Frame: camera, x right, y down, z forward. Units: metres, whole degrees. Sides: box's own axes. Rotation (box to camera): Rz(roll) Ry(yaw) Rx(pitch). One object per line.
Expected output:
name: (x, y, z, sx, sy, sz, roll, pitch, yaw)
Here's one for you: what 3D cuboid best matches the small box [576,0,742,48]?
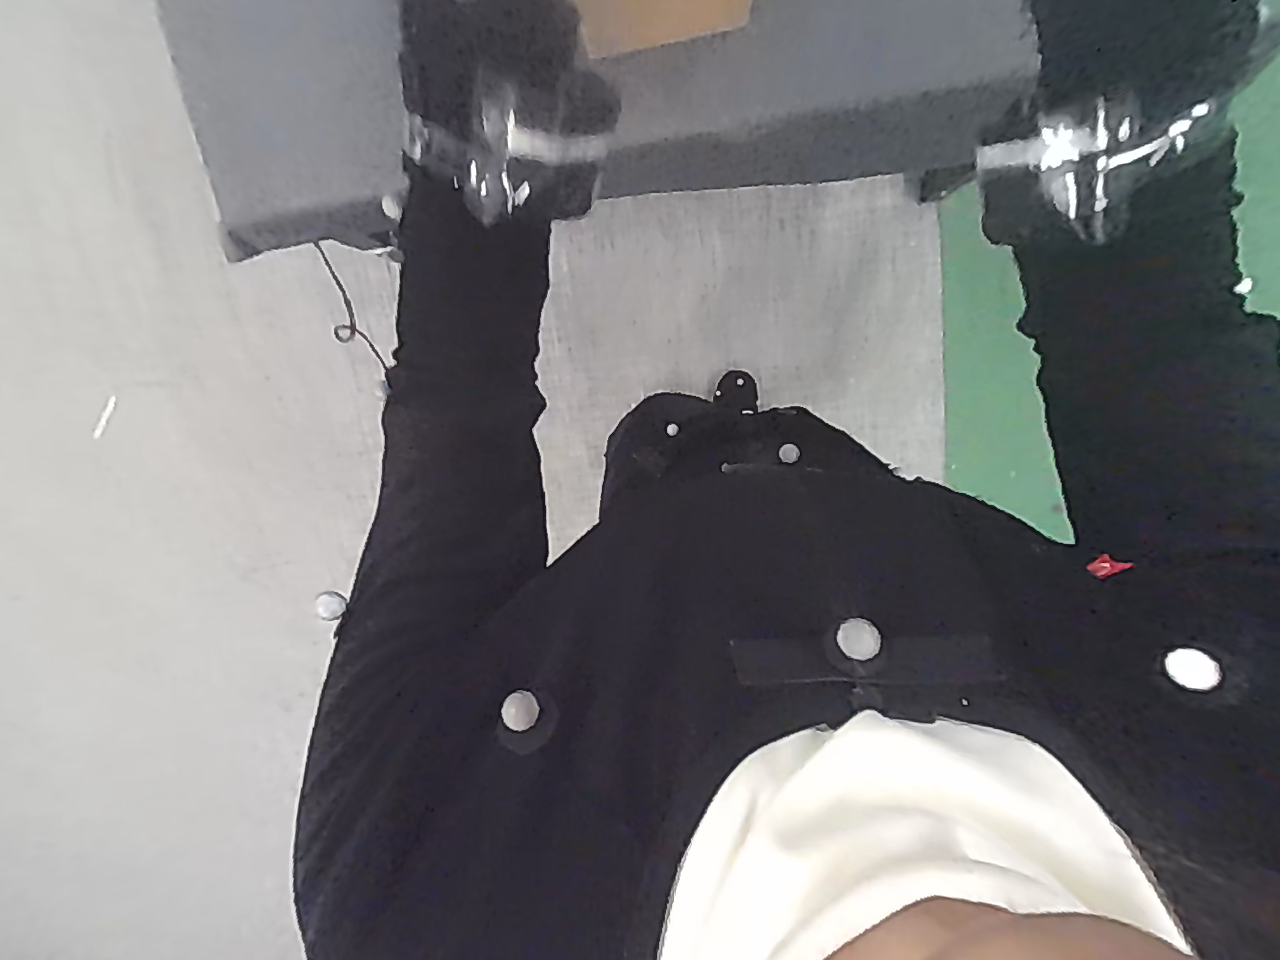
small box: (0.011, -0.548, 0.504, 0.179, 0.176, 0.168, -9, 102, 4)
